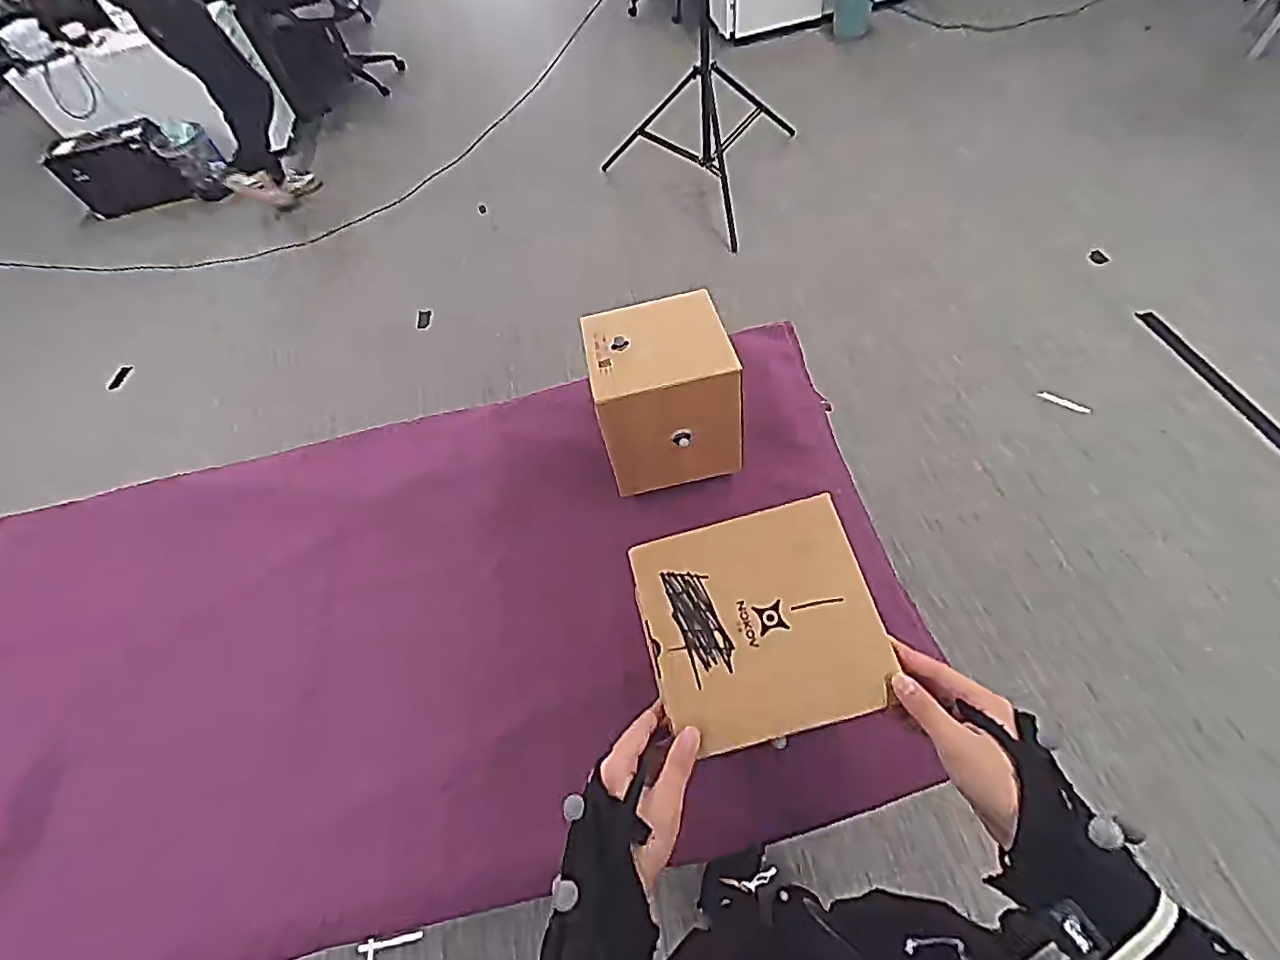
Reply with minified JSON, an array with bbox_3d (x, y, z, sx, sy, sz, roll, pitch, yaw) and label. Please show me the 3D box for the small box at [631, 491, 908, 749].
[{"bbox_3d":[0.106,0.132,0.493,0.179,0.176,0.168,-16,68,4],"label":"small box"}]
